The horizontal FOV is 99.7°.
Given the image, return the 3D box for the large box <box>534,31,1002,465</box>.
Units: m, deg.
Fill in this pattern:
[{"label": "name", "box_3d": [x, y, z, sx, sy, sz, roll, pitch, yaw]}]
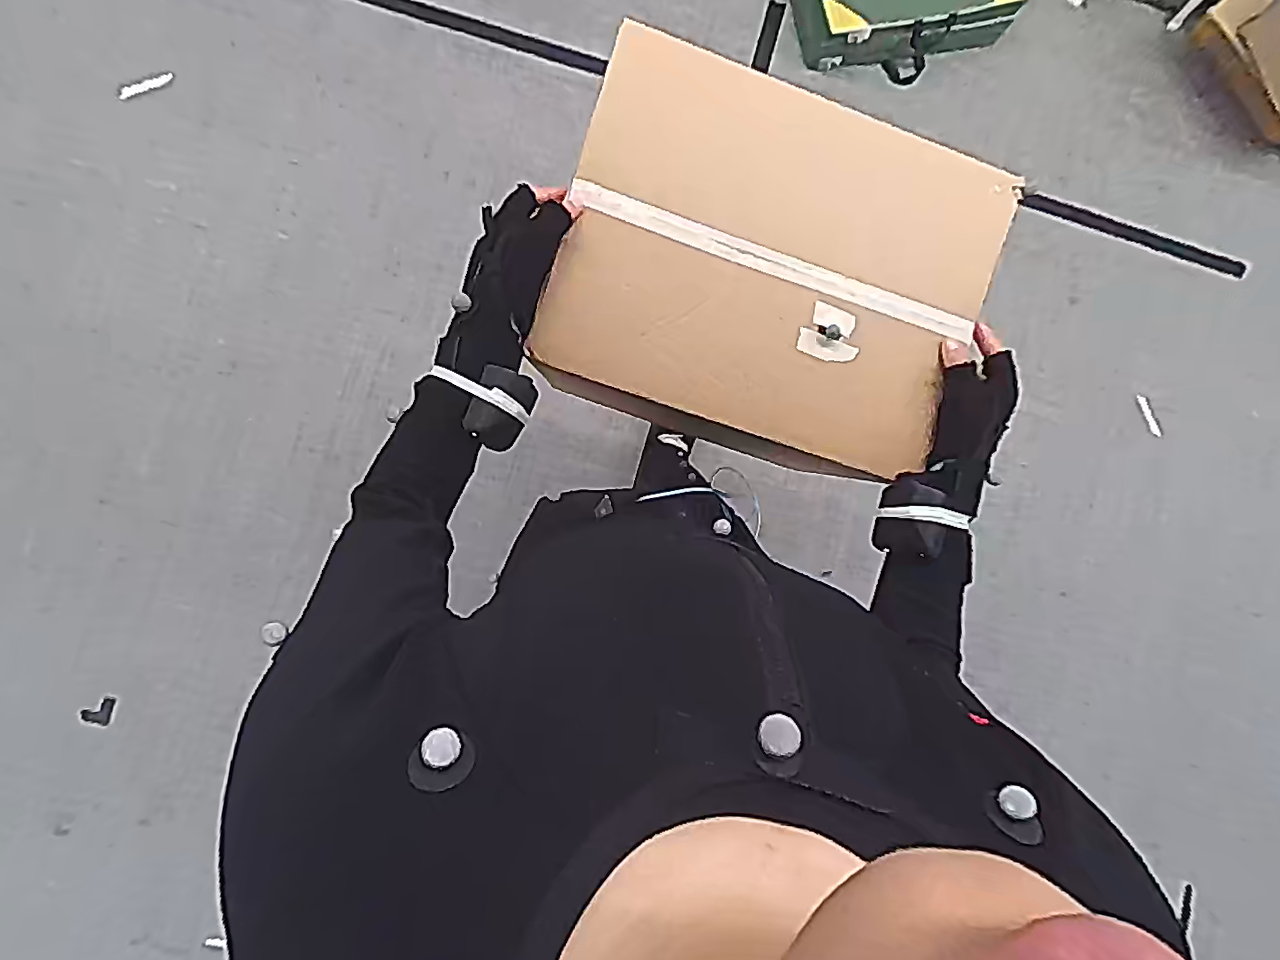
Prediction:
[{"label": "large box", "box_3d": [0.115, -0.227, 0.672, 0.408, 0.320, 0.320, 18, 94, -6]}]
